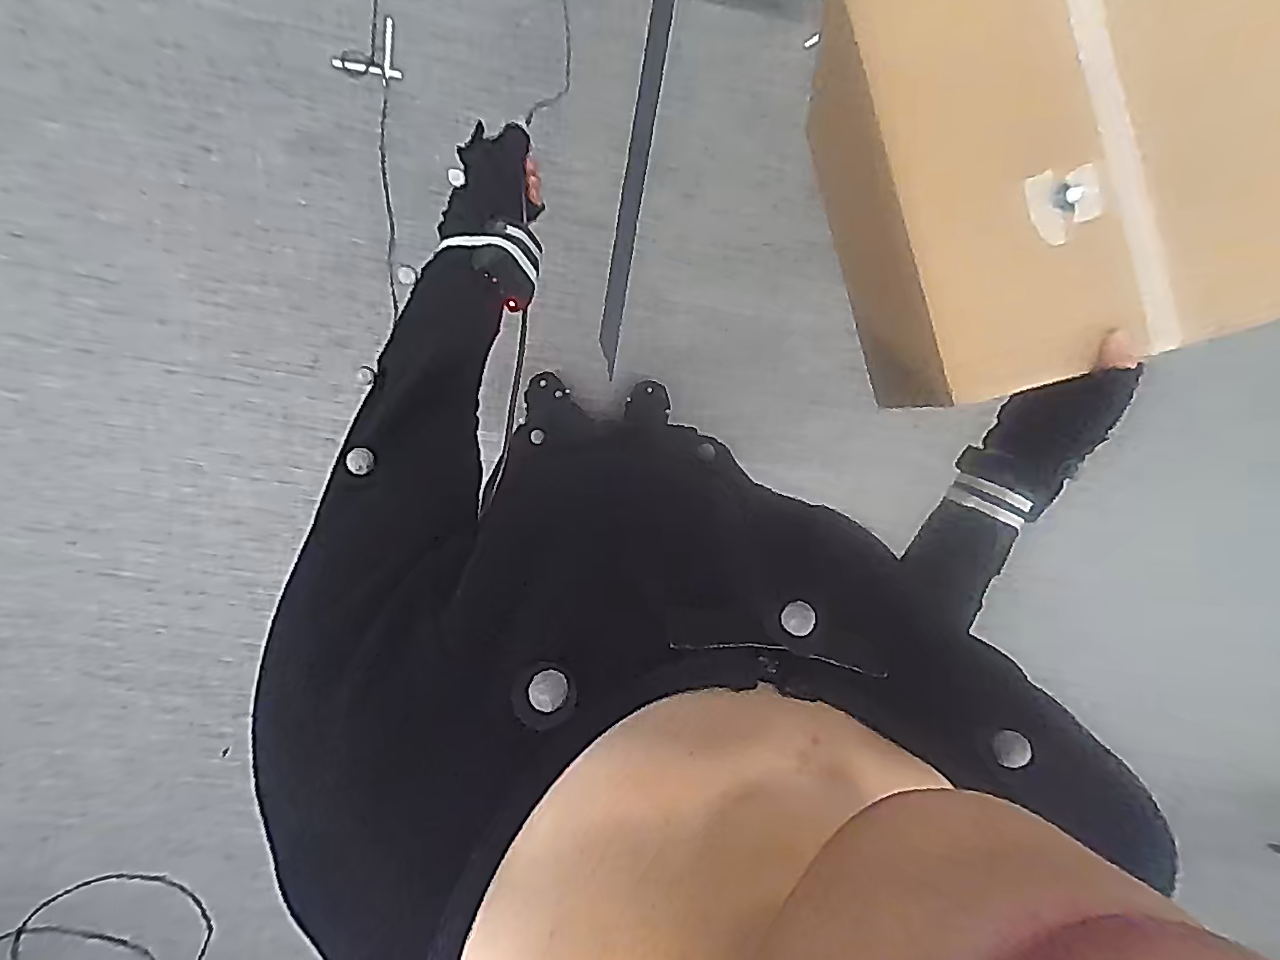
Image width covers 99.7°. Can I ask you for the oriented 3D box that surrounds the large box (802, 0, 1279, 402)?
[{"bbox_3d":[0.390,-0.321,0.577,0.320,0.320,0.408,-16,93,15],"label":"large box"}]
